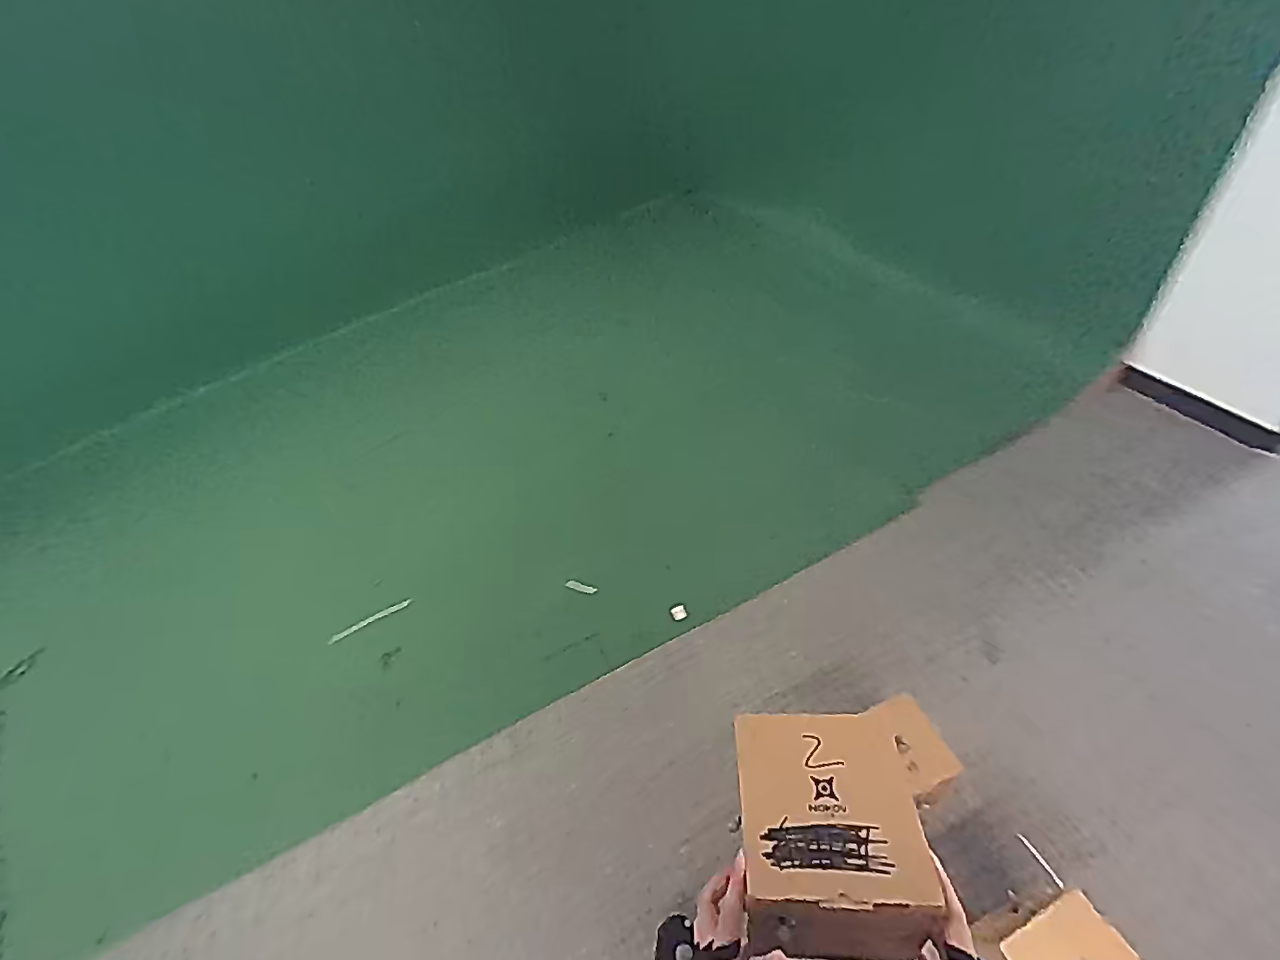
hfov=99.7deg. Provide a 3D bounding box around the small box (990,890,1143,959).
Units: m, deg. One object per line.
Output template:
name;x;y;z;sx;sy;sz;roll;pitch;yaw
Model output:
small box;0.726;0.834;0.907;0.179;0.176;0.168;-28;47;-9

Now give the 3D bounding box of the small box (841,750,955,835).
small box;0.599;0.711;1.279;0.168;0.176;0.179;-24;48;-5

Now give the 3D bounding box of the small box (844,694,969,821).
small box;0.559;0.599;1.165;0.168;0.176;0.179;-23;48;-4

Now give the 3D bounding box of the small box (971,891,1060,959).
small box;0.774;0.928;1.030;0.168;0.176;0.179;-25;48;-5
